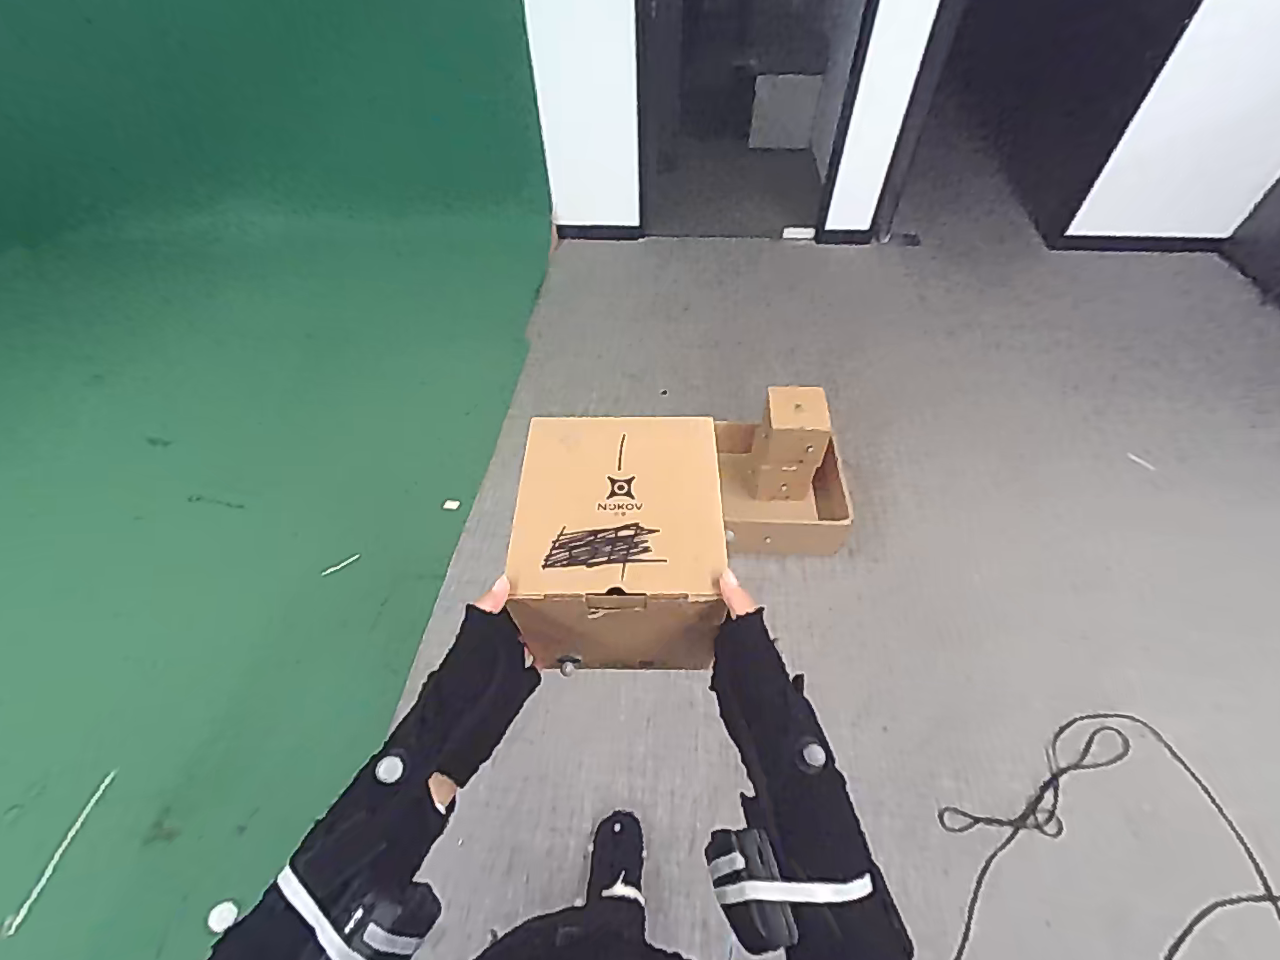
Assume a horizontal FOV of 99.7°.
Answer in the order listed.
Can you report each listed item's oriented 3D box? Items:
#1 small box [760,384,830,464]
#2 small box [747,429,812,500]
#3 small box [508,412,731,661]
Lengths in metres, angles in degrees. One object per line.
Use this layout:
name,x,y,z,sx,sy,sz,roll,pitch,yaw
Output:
small box,0.451,-0.164,1.599,0.168,0.176,0.179,2,51,4
small box,0.442,-0.048,1.739,0.168,0.176,0.179,-2,50,2
small box,-0.011,0.057,0.500,0.168,0.176,0.179,1,53,0
